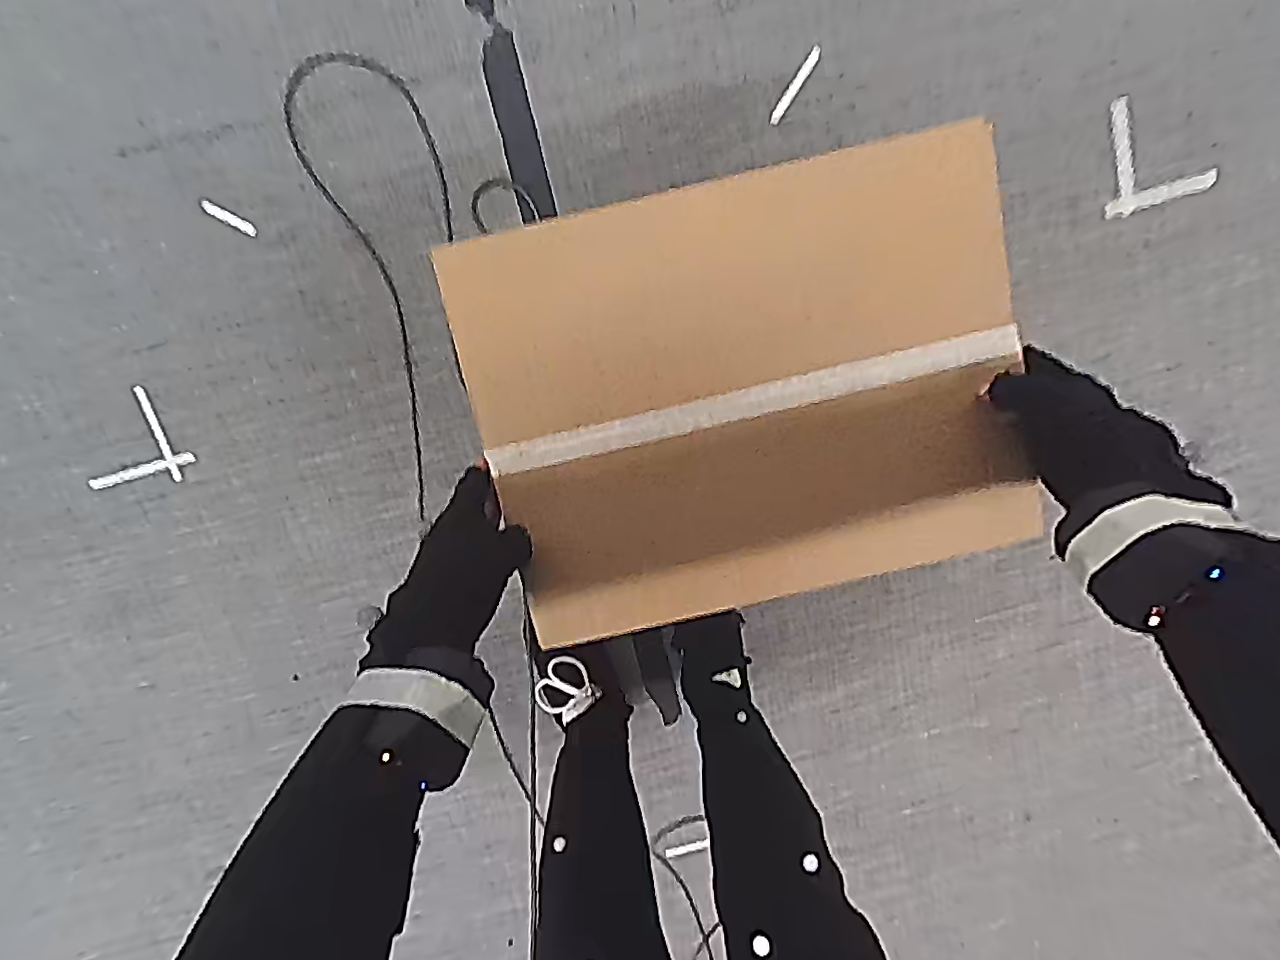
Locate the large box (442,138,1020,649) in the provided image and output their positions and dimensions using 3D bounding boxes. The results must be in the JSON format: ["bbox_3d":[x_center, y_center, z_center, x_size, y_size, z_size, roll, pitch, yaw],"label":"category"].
[{"bbox_3d":[0.079,-0.078,0.562,0.408,0.320,0.320,-14,98,1],"label":"large box"}]
